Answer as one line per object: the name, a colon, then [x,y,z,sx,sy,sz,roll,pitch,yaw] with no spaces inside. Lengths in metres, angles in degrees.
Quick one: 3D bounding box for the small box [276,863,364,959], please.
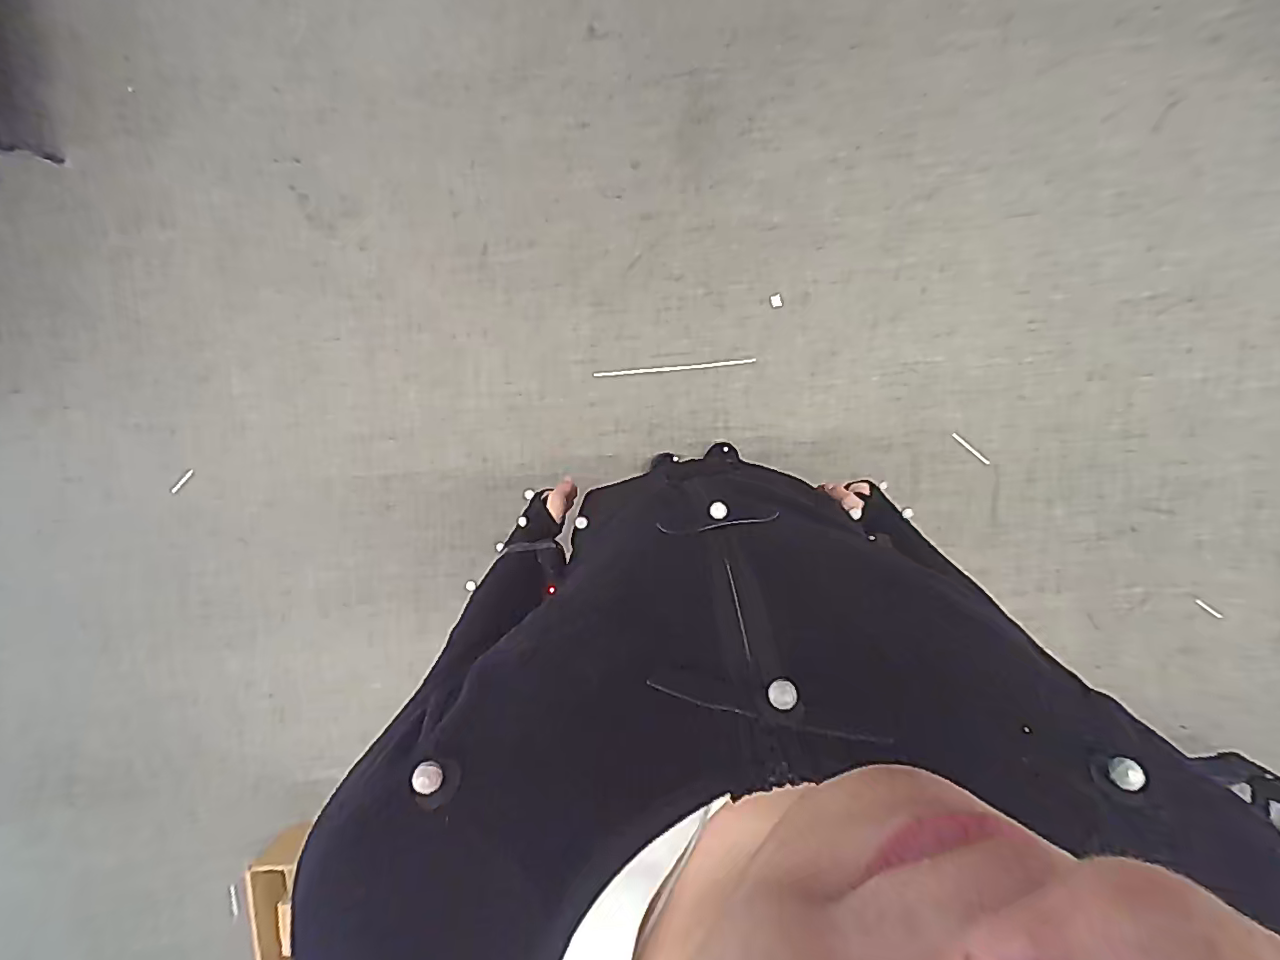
small box: [-0.961,1.303,1.643,0.179,0.176,0.168,-2,95,2]
